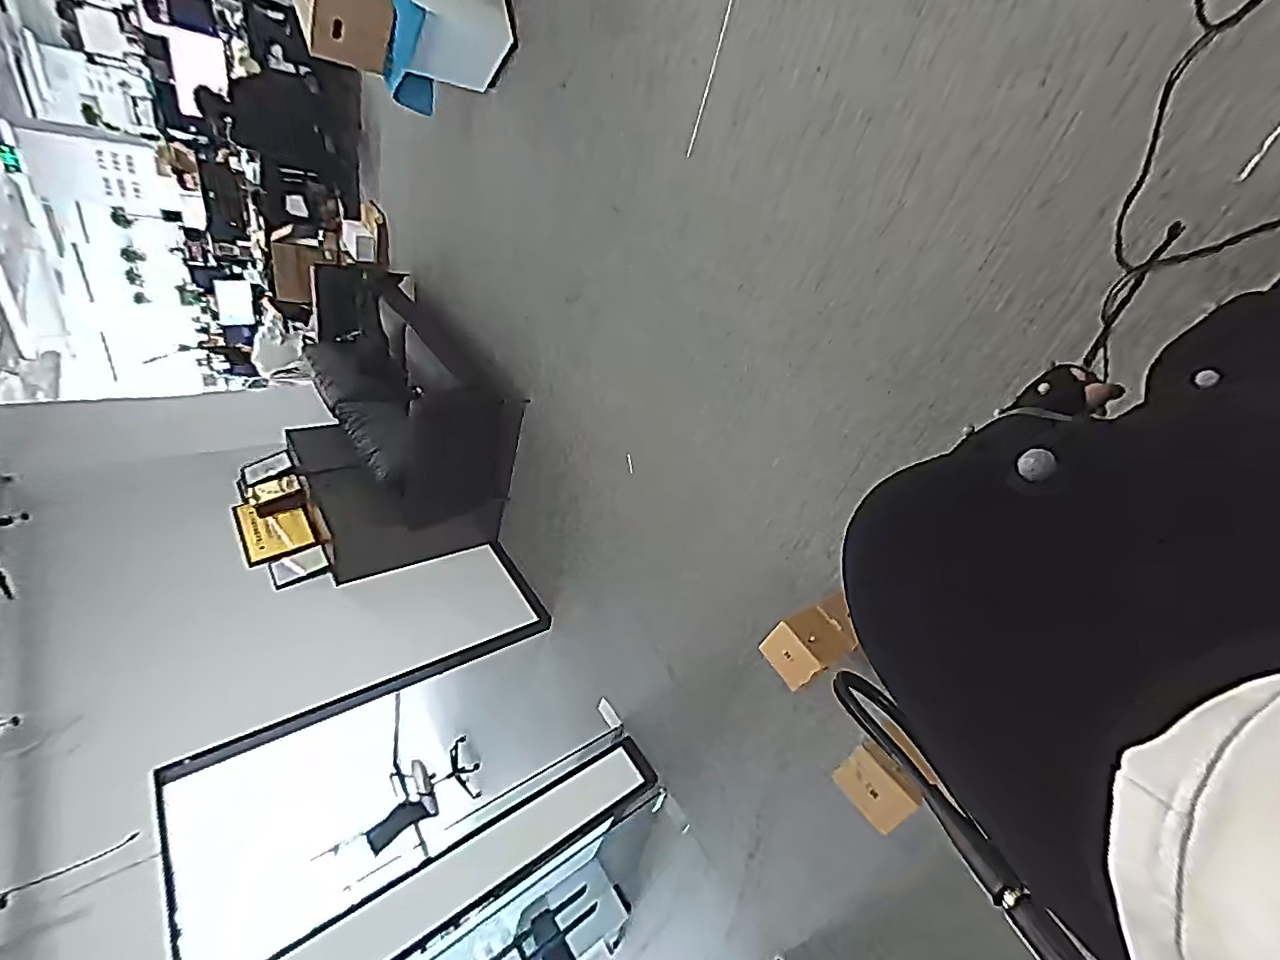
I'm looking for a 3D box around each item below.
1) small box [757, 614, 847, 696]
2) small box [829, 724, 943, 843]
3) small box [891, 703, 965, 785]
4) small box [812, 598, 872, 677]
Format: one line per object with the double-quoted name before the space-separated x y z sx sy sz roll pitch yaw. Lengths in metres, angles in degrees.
"small box" 0.519 0.551 1.732 0.179 0.176 0.168 50 134 29
"small box" 0.632 0.770 1.387 0.179 0.176 0.168 45 131 34
"small box" 0.759 0.756 1.493 0.168 0.176 0.179 44 132 35
"small box" 0.651 0.524 1.824 0.168 0.176 0.179 53 134 29
